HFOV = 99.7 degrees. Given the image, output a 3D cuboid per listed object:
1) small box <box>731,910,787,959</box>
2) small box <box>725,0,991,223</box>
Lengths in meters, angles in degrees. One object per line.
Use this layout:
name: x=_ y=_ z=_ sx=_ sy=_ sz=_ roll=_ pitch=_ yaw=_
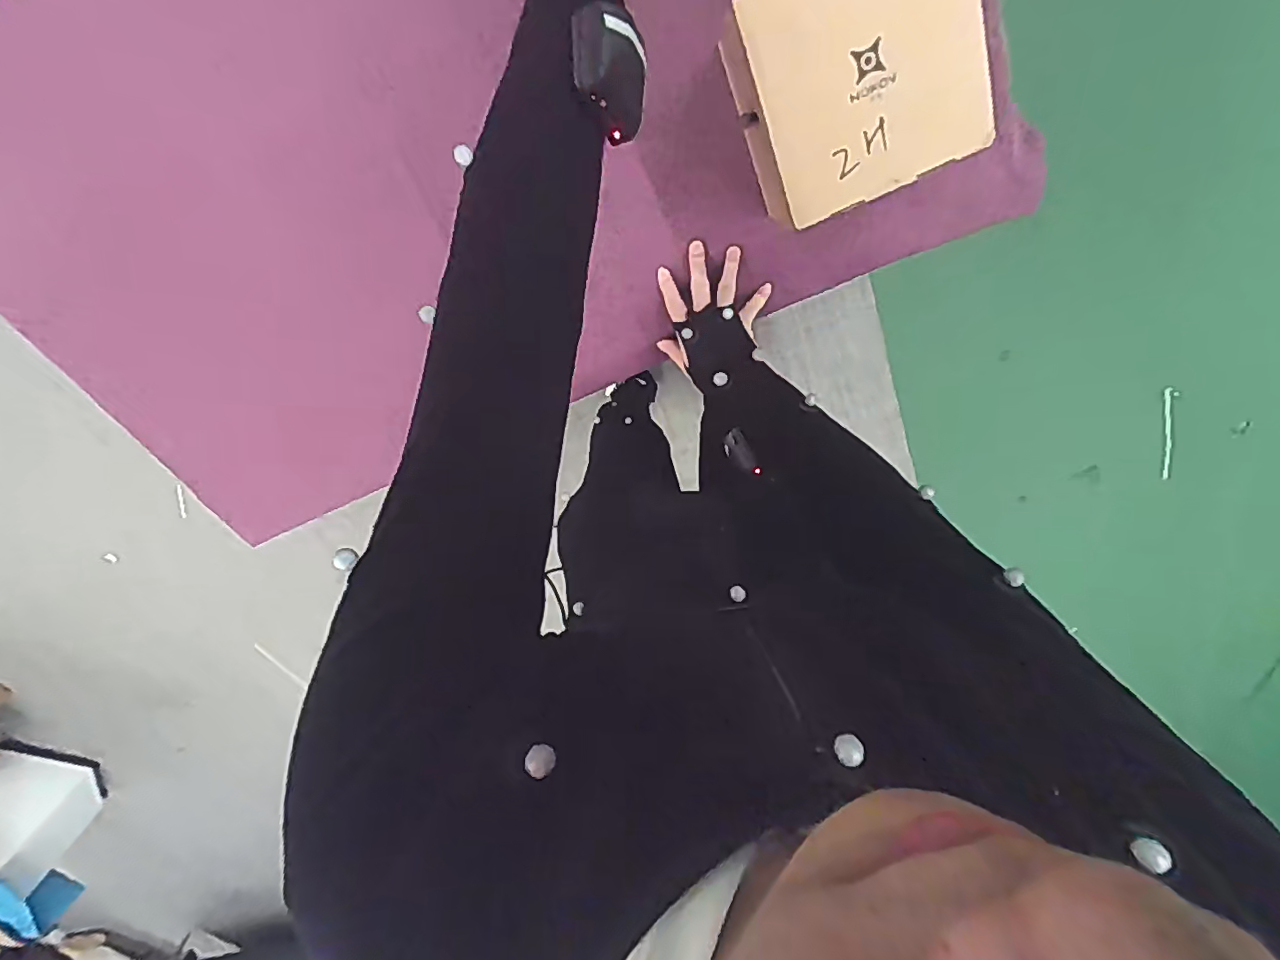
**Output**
small box: x=0.419 y=1.640 z=1.889 sx=0.168 sy=0.176 sz=0.179 roll=-14 pitch=119 yaw=10
small box: x=0.181 y=-0.358 z=0.487 sx=0.168 sy=0.176 sz=0.179 roll=-18 pitch=118 yaw=15
